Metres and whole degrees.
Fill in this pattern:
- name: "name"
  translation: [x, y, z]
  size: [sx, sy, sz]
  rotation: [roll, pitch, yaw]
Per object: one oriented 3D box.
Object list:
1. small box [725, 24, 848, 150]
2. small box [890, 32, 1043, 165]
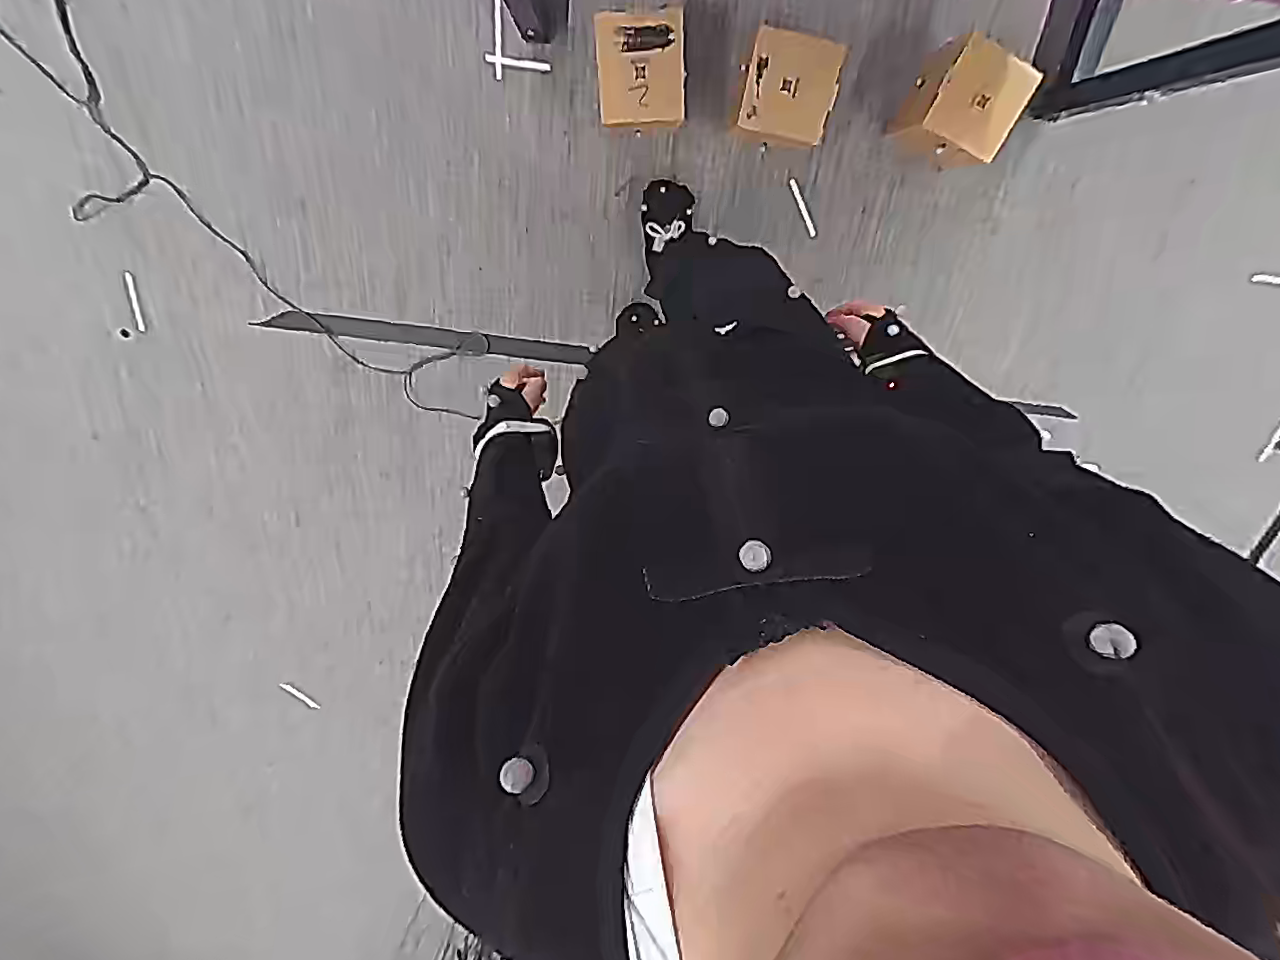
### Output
- name: "small box"
  translation: [0.289, -0.794, 1.111]
  size: [0.179, 0.176, 0.168]
  rotation: [9, 116, -7]
- name: "small box"
  translation: [0.669, -0.782, 1.131]
  size: [0.179, 0.176, 0.168]
  rotation: [21, 114, -11]
